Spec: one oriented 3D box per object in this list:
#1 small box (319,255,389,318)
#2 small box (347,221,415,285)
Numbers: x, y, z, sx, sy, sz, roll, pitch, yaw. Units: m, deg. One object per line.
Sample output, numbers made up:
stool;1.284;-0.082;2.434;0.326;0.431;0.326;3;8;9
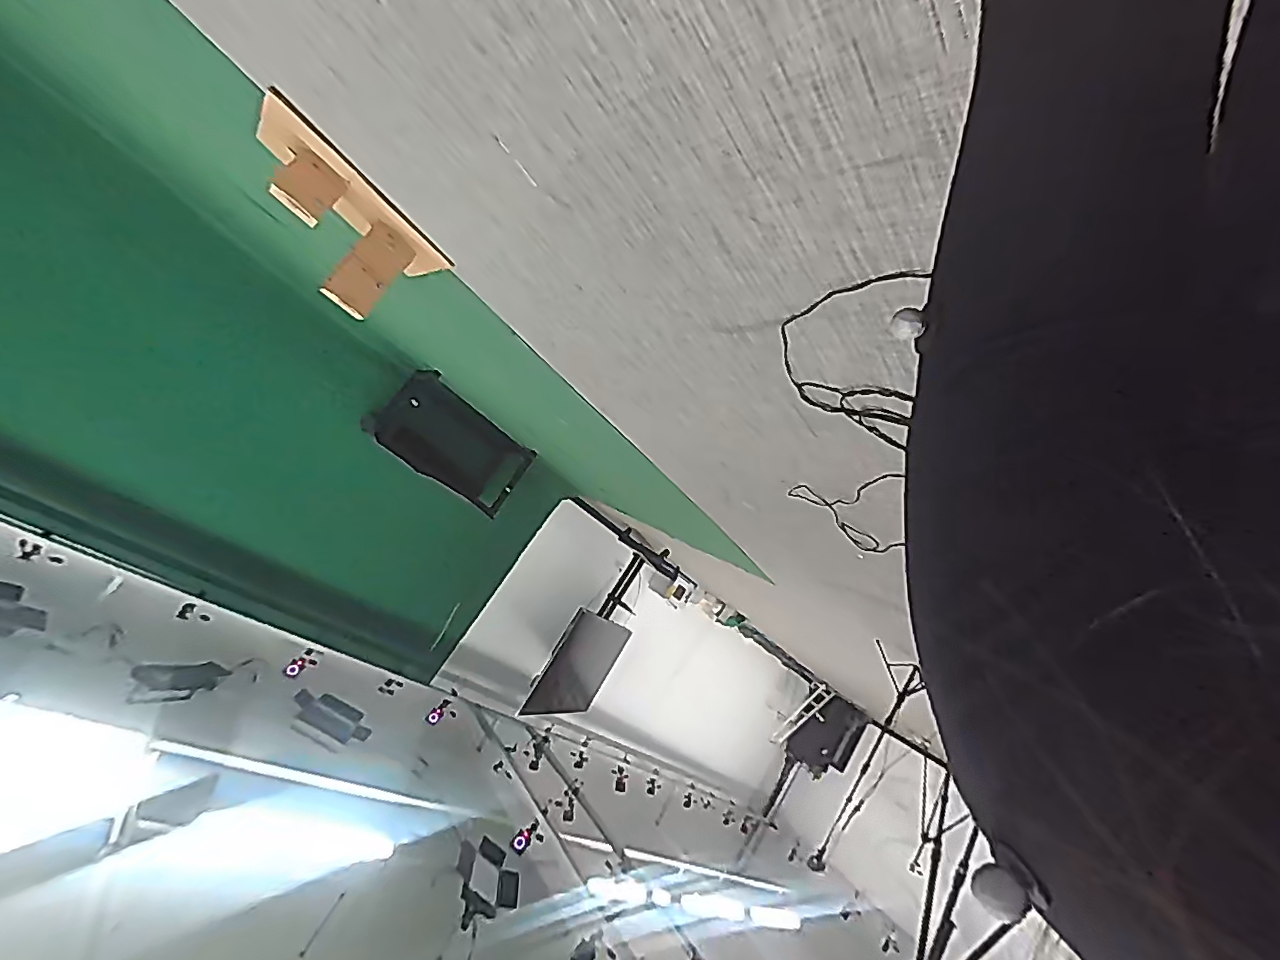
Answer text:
small box;-1.110;-0.754;2.105;0.179;0.176;0.168;22;165;50
small box;-1.021;-0.889;2.133;0.168;0.176;0.179;40;167;-37
